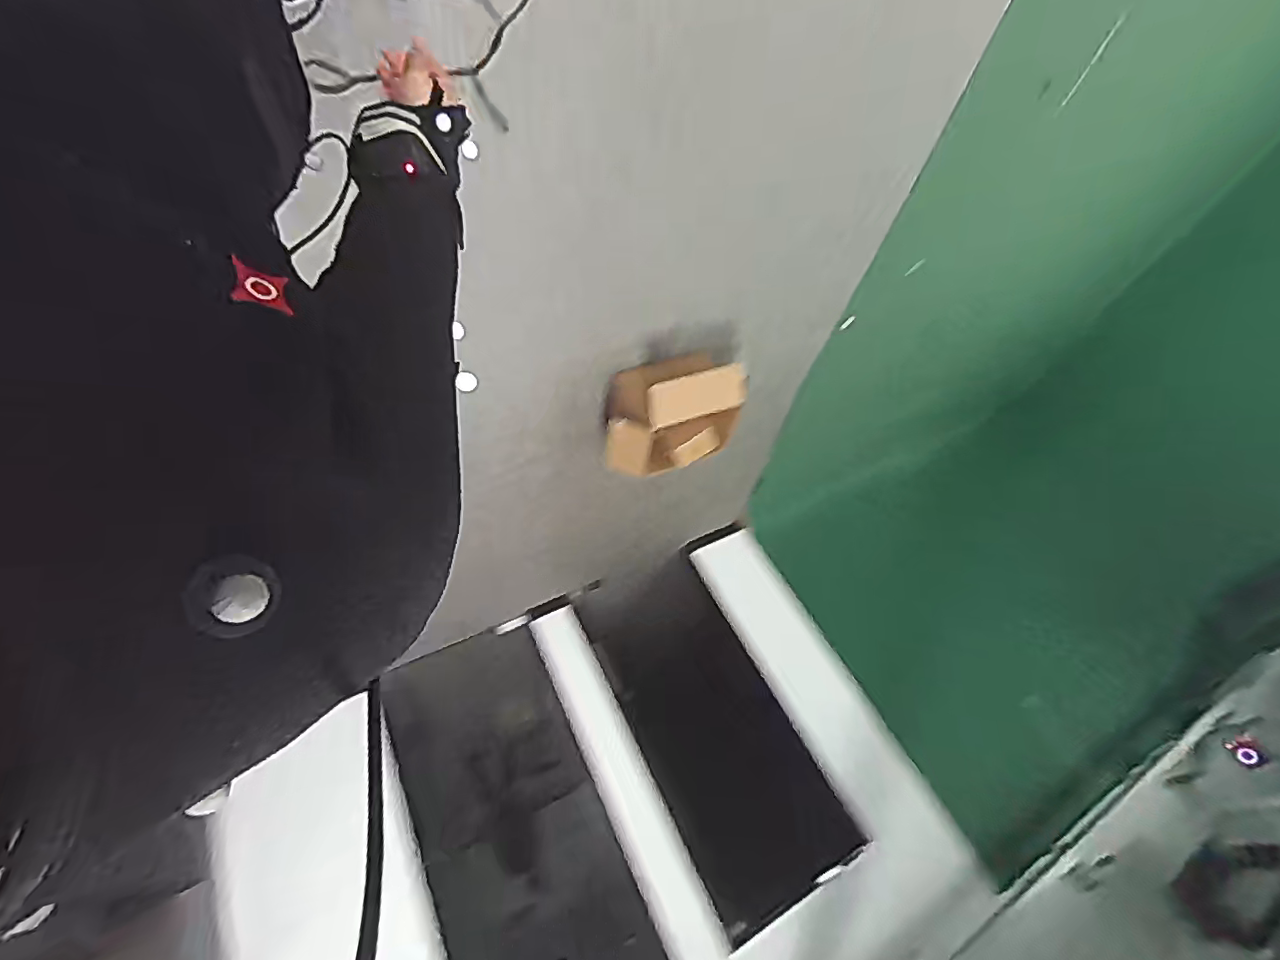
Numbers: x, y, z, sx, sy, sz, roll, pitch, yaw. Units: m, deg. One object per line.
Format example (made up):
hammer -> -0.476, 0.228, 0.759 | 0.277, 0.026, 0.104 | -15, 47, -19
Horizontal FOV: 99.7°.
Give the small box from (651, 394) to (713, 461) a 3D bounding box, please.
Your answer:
small box -> 0.168, -0.208, 2.132 | 0.168, 0.176, 0.179 | -33, 153, 2
